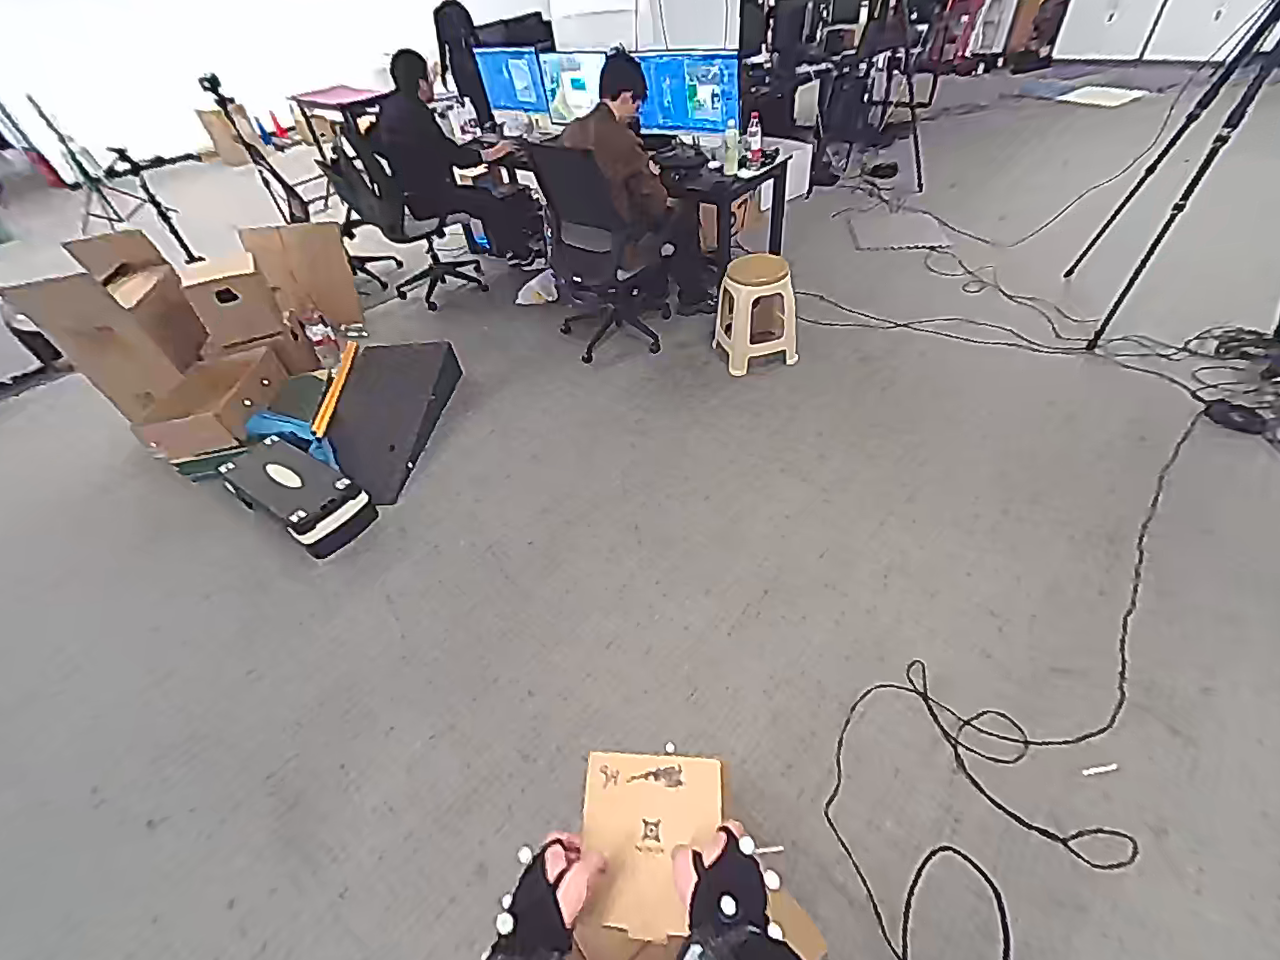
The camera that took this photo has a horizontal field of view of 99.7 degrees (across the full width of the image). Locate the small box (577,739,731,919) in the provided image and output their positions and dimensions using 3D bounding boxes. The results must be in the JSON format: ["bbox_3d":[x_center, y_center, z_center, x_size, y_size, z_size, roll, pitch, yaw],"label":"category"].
[{"bbox_3d":[0.026,0.440,0.711,0.168,0.176,0.179,-6,63,13],"label":"small box"}]
